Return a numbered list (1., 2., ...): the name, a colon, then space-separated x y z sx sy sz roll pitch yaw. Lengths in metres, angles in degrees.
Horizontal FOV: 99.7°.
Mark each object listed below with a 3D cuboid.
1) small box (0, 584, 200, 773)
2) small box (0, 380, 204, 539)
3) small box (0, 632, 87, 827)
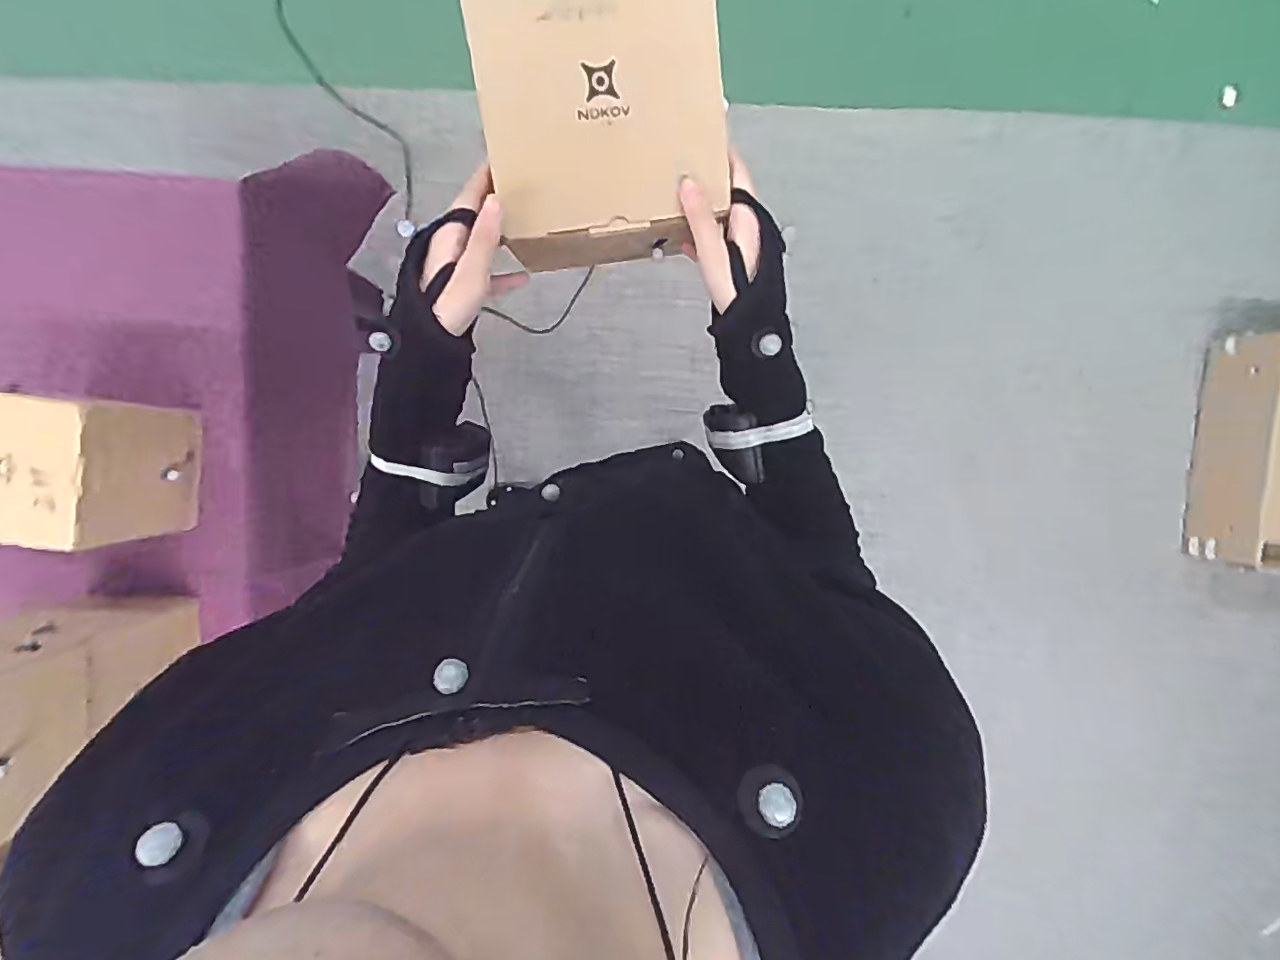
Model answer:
1. small box: -0.716 0.246 0.701 0.168 0.176 0.179 1 94 0
2. small box: -0.707 -0.030 0.680 0.179 0.176 0.168 8 94 0
3. small box: -0.712 0.257 0.537 0.168 0.176 0.179 3 95 0
